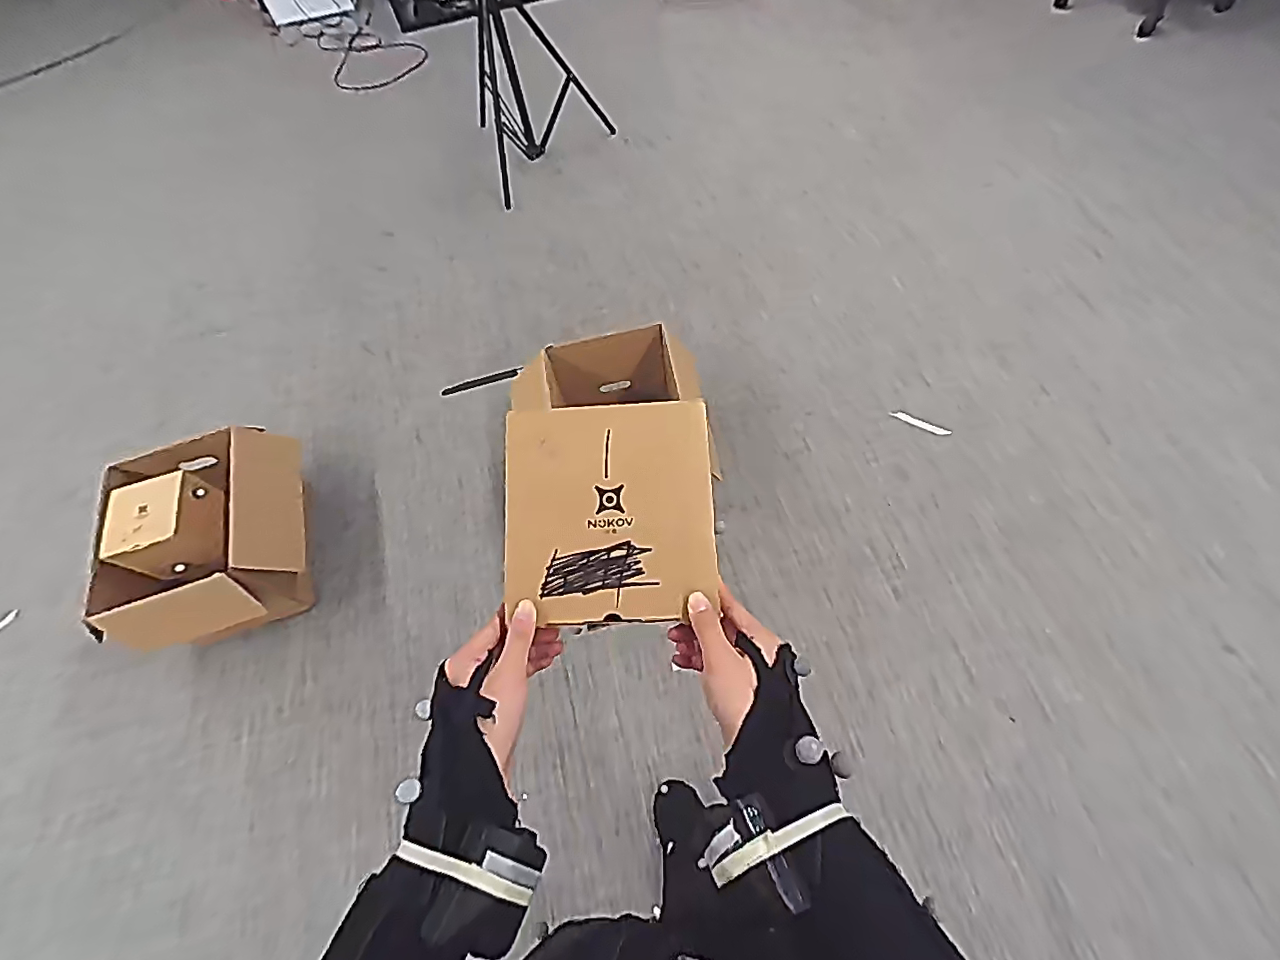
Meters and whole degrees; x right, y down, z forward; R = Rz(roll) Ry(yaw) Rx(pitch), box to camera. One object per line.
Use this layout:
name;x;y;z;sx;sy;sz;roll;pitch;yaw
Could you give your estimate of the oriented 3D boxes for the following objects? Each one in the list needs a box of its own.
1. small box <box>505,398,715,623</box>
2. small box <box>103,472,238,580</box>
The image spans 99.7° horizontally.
small box;-0.021;0.037;0.506;0.168;0.176;0.179;-3;77;2
small box;-1.088;0.113;1.271;0.168;0.176;0.179;-17;63;-2
